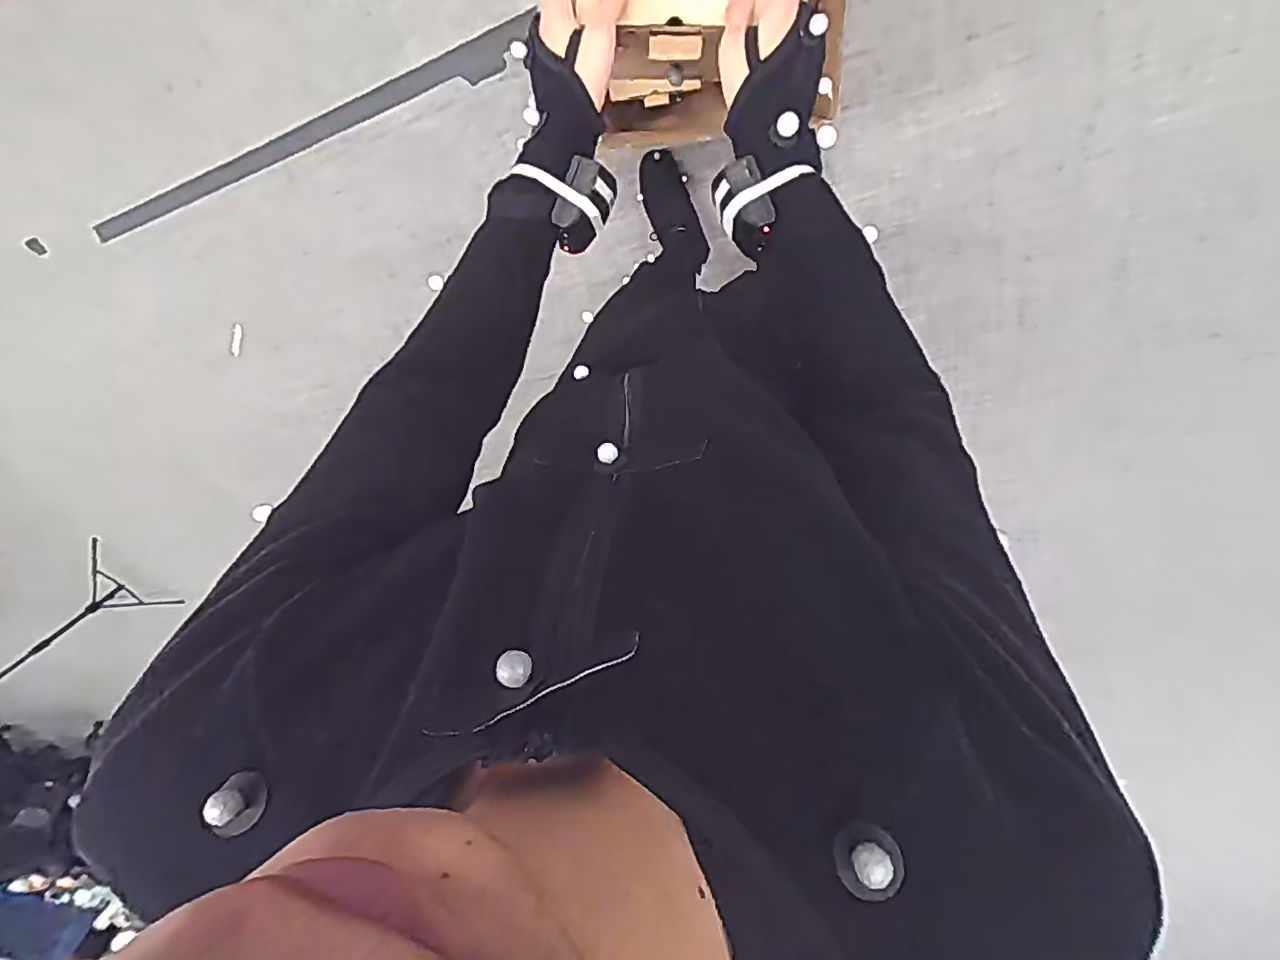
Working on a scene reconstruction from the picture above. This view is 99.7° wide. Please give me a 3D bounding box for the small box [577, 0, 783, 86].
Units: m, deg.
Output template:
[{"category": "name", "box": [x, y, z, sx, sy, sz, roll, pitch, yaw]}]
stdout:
[{"category": "small box", "box": [0.040, -0.474, 0.473, 0.168, 0.176, 0.179, 4, 114, 4]}]
